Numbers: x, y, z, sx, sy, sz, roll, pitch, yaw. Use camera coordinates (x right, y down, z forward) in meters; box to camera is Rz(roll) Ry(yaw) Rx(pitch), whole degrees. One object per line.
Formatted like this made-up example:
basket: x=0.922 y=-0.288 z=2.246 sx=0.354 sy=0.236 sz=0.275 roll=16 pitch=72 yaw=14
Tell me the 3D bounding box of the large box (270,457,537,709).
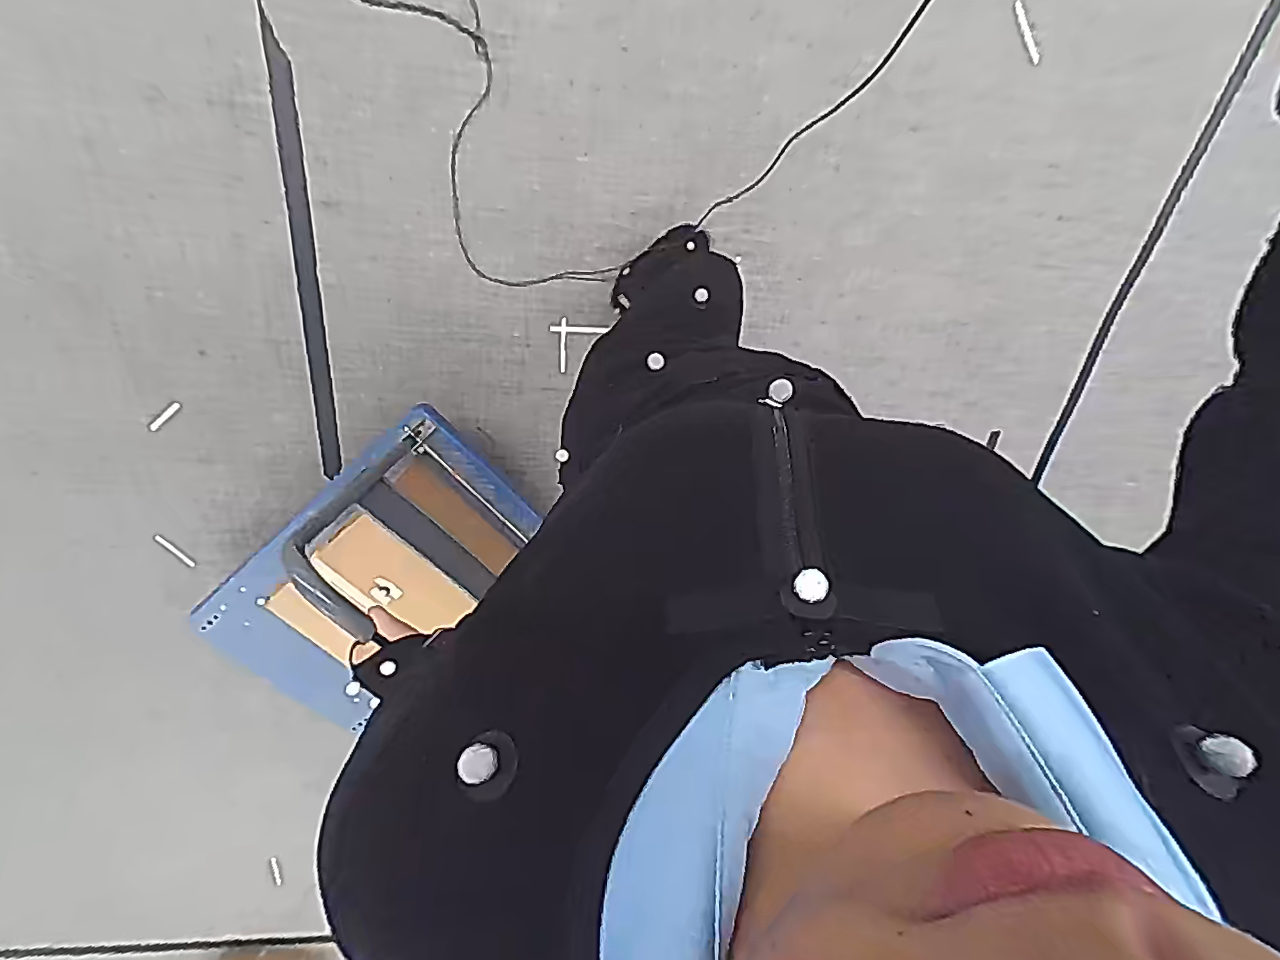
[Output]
large box: x=-0.495 y=0.222 z=1.234 sx=0.320 sy=0.320 sz=0.408 roll=-39 pitch=109 yaw=9
